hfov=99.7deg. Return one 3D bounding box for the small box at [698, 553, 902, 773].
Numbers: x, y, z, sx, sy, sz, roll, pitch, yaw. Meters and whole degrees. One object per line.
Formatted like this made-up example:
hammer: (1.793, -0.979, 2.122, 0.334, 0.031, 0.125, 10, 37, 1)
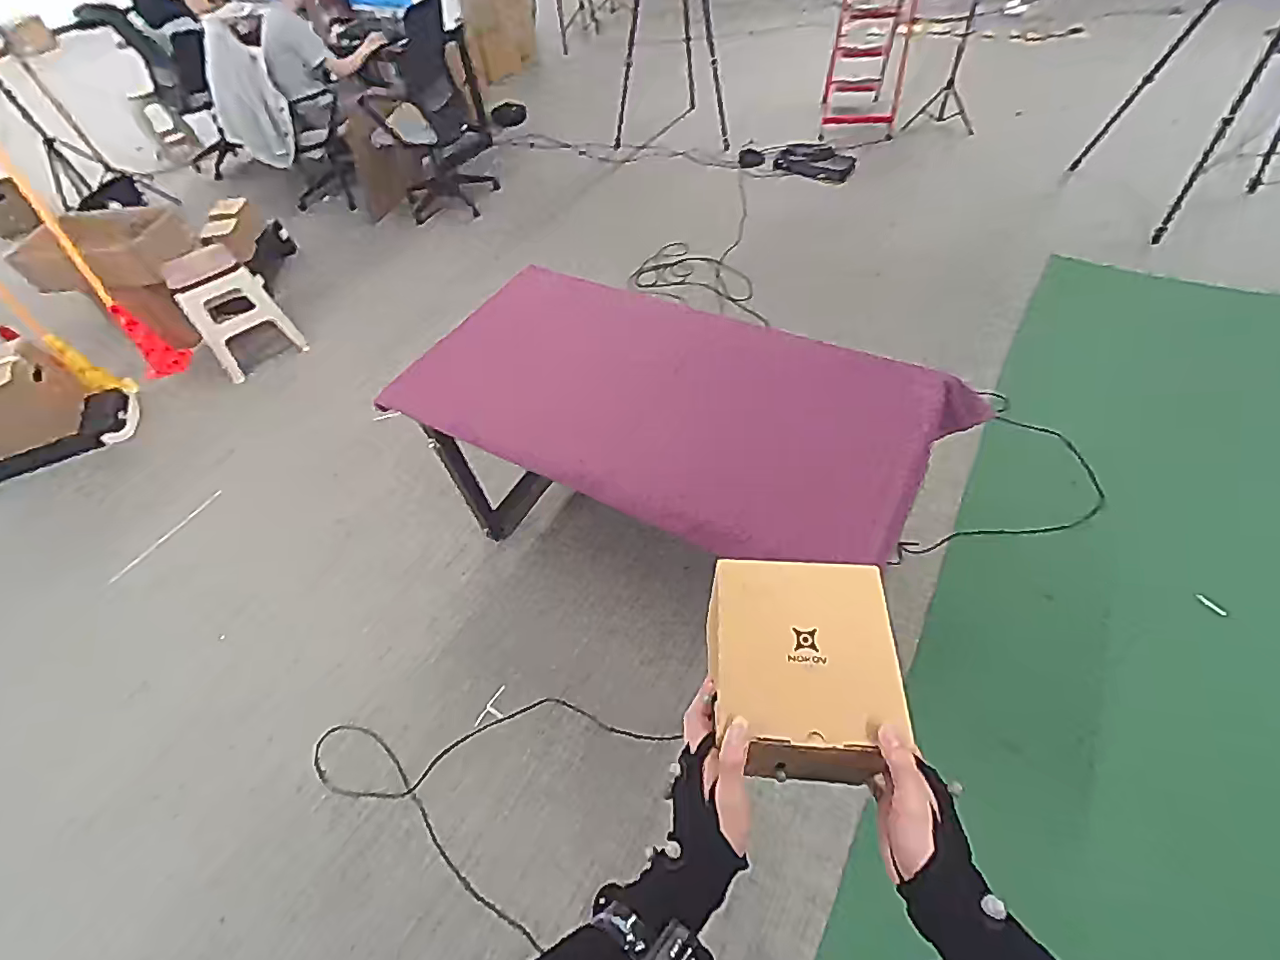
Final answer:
small box: (0.149, 0.197, 0.575, 0.168, 0.176, 0.179, 2, 55, 4)
